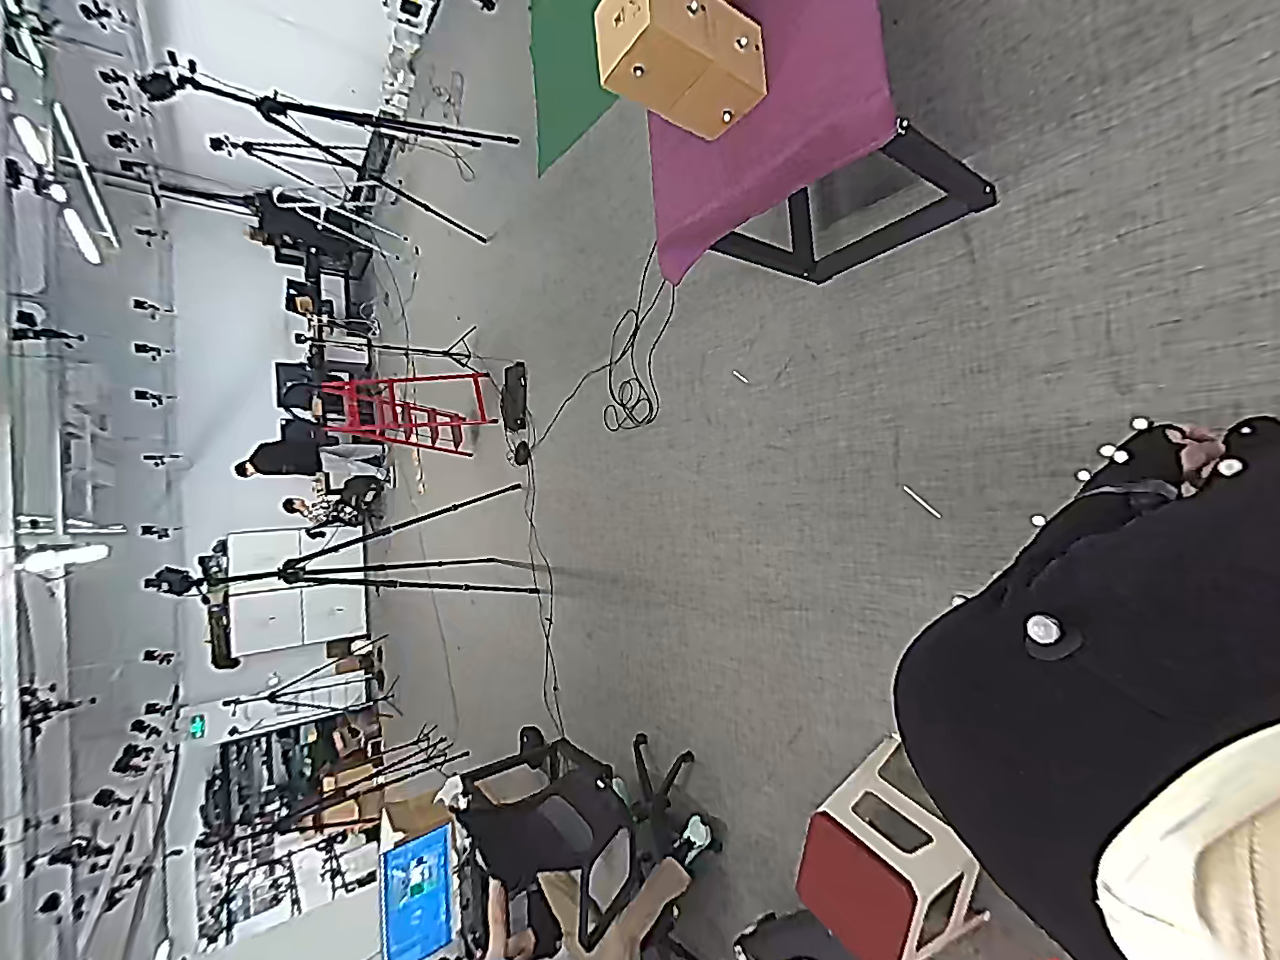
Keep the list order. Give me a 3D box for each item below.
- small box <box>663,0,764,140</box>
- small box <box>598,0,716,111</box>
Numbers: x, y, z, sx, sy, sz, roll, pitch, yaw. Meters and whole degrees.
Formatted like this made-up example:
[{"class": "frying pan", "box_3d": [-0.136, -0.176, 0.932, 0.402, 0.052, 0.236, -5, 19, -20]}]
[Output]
[{"class": "small box", "box_3d": [0.164, -0.915, 1.216, 0.179, 0.176, 0.168, -10, 83, 52]}, {"class": "small box", "box_3d": [0.033, -0.913, 1.116, 0.179, 0.176, 0.168, -10, 84, 53]}]
